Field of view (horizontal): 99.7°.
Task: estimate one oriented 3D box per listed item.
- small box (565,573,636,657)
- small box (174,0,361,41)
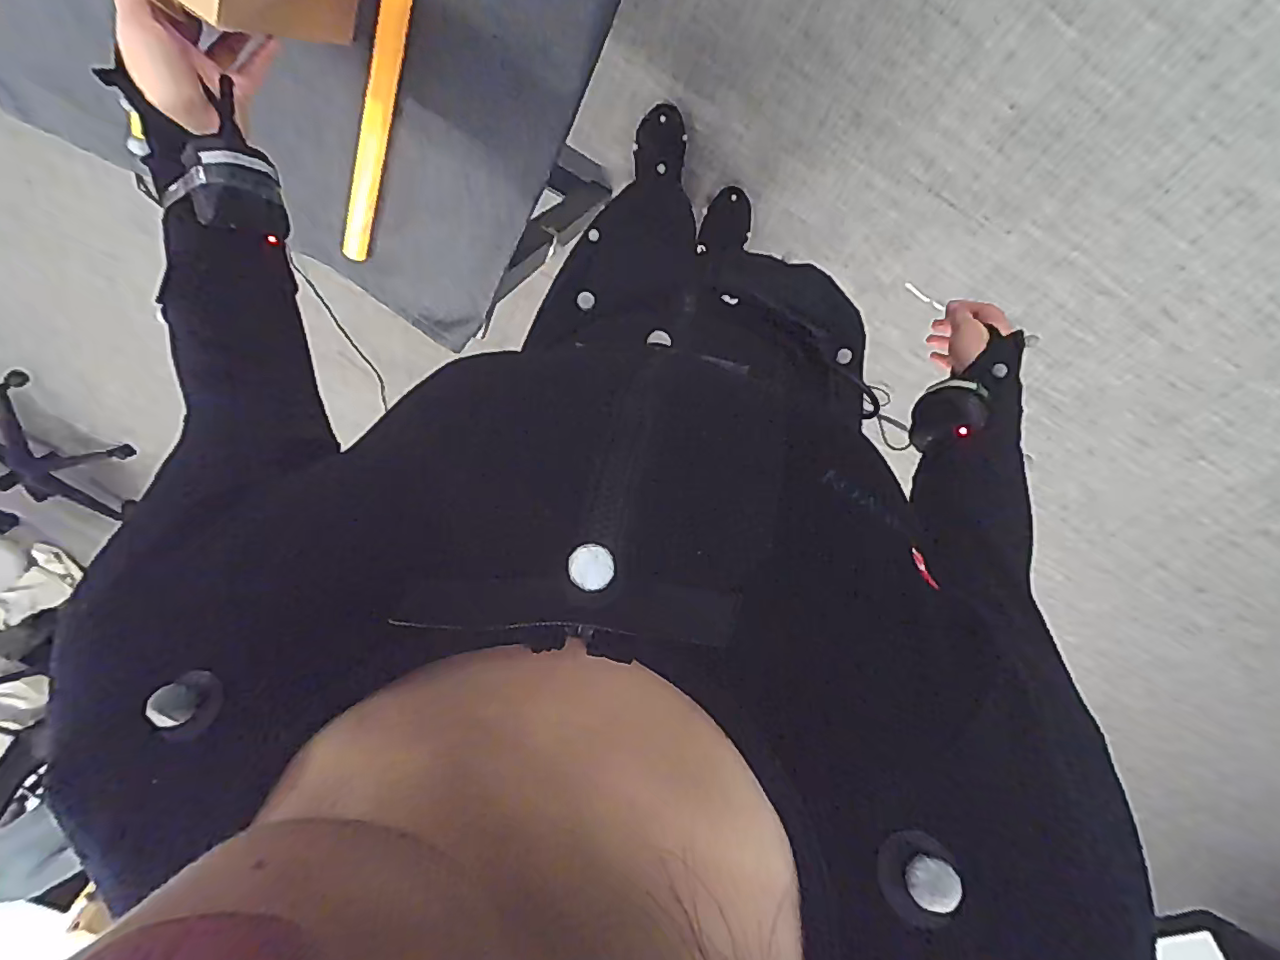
[{"bbox_3d":[-0.121,0.431,1.740,0.168,0.176,0.179,24,127,-6],"label":"small box"},{"bbox_3d":[-0.322,-0.478,0.411,0.168,0.176,0.179,31,125,-11],"label":"small box"}]
